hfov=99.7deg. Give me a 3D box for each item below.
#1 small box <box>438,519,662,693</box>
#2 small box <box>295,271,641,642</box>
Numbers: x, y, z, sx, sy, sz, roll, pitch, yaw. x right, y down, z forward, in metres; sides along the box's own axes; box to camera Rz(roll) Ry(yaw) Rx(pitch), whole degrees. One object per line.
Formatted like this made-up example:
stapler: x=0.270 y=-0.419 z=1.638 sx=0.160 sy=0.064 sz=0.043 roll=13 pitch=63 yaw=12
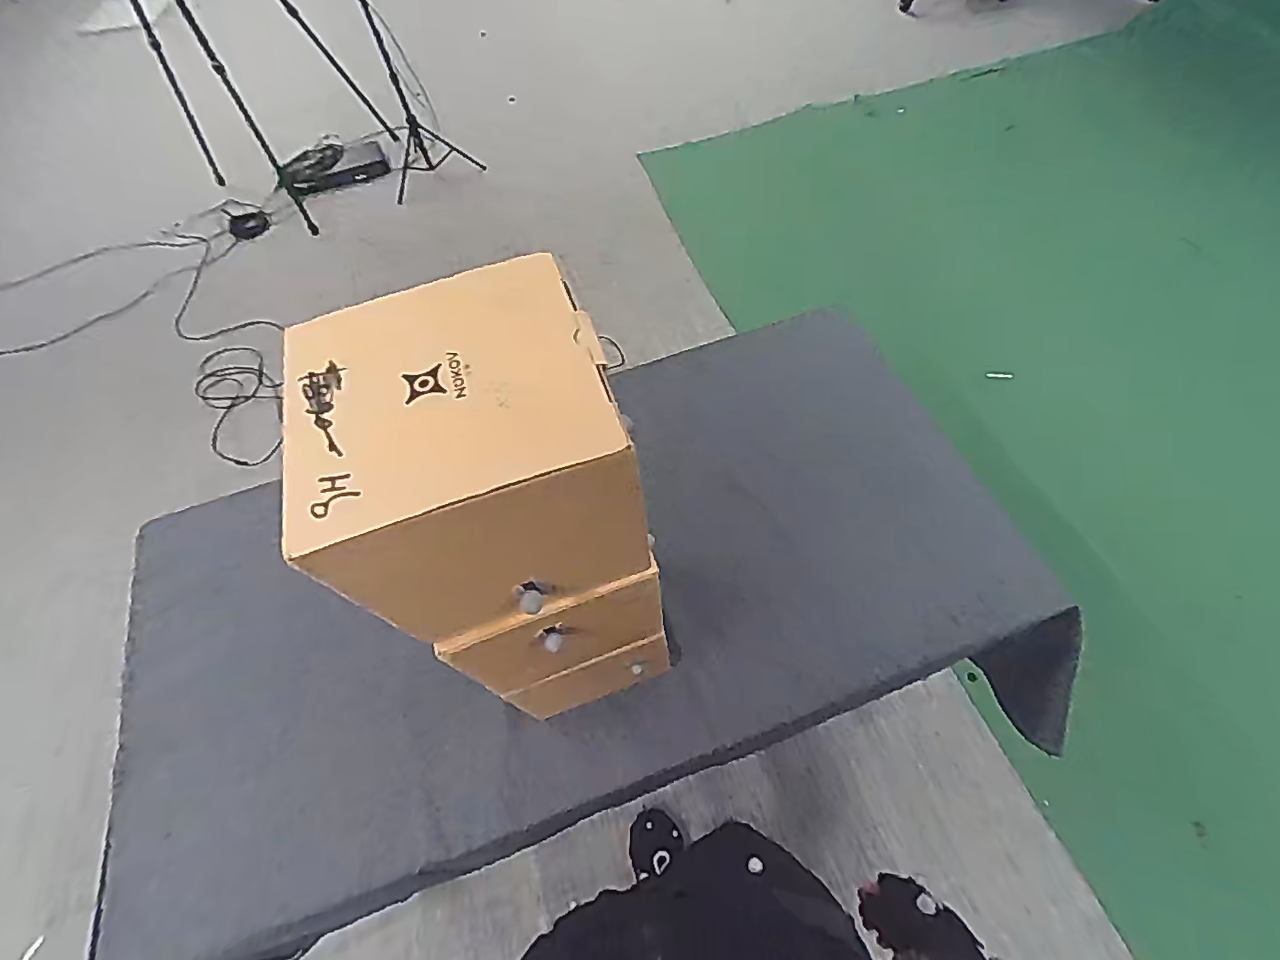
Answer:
small box: x=-0.087 y=0.081 z=0.514 sx=0.179 sy=0.176 sz=0.168 roll=-20 pitch=59 yaw=-7
small box: x=-0.103 y=-0.008 z=0.377 sx=0.179 sy=0.176 sz=0.168 roll=-18 pitch=59 yaw=-6
